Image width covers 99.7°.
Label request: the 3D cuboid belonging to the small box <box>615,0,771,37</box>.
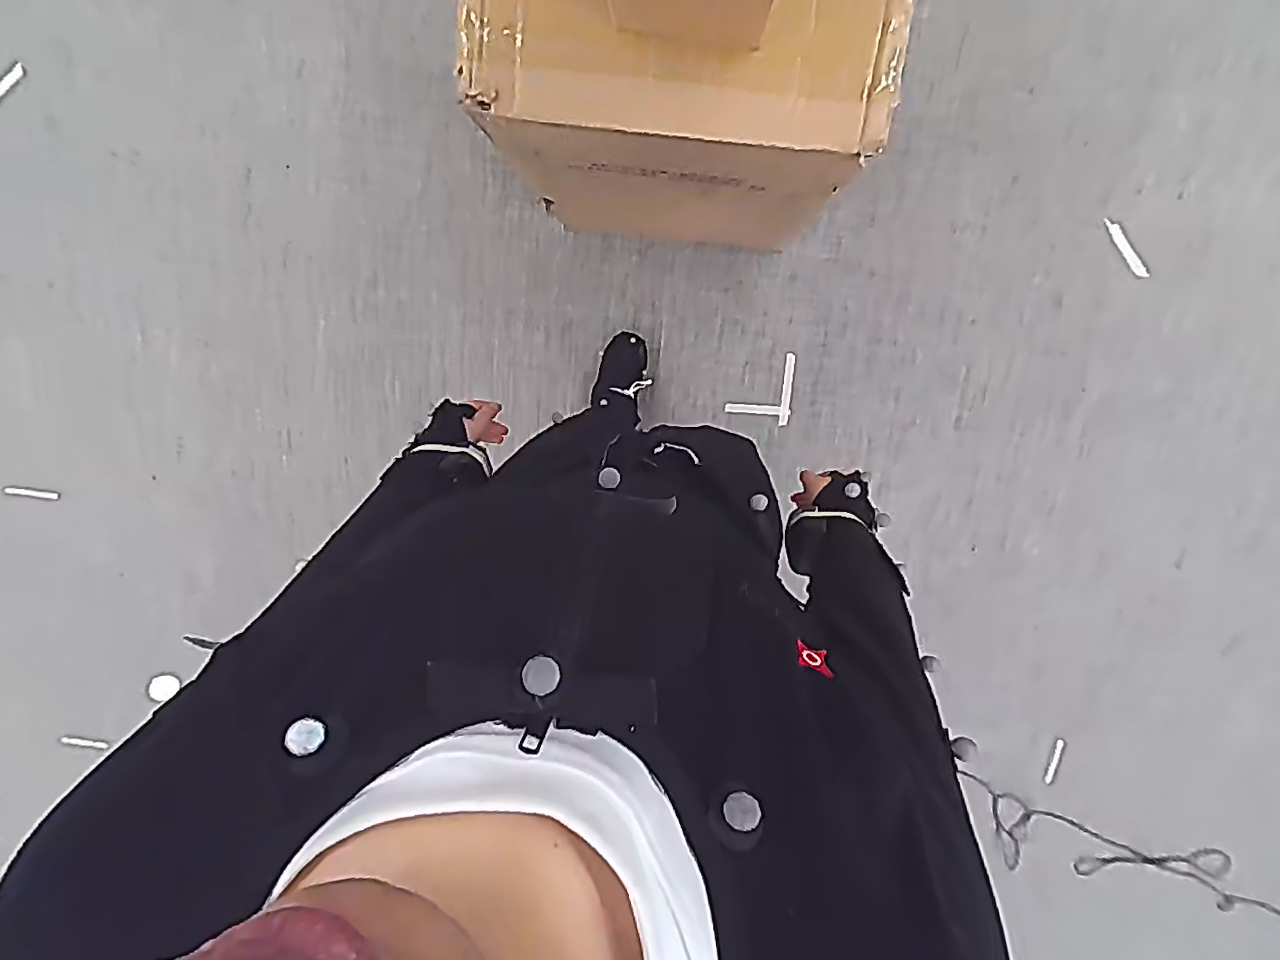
[{"bbox_3d":[0.062,-0.580,0.530,0.179,0.176,0.168,9,104,1],"label":"small box"}]
